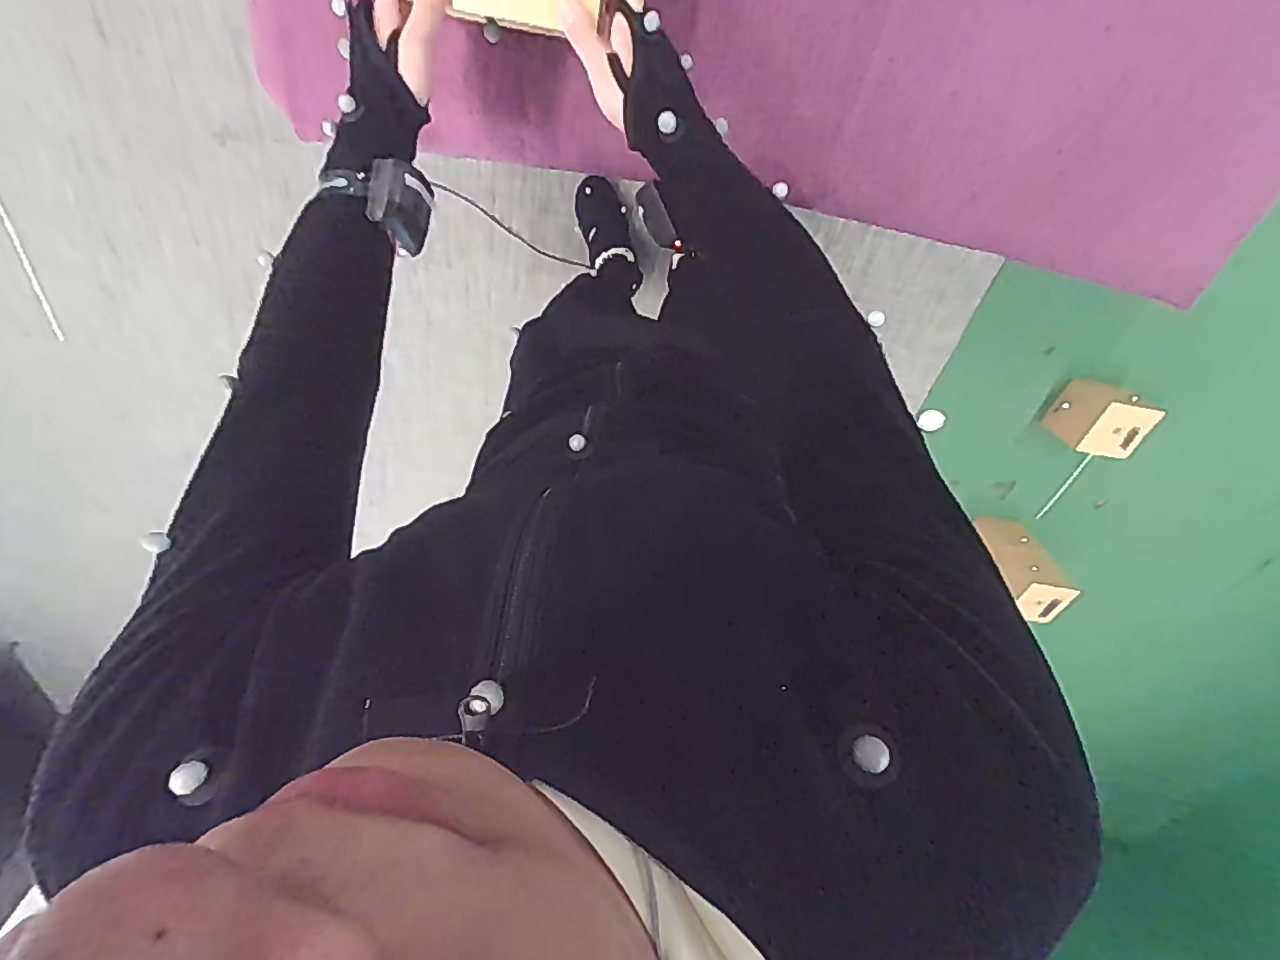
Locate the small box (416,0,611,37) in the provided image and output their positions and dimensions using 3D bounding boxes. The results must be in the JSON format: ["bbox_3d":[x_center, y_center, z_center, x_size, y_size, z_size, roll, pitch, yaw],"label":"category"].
[{"bbox_3d":[-0.103,-0.508,0.466,0.168,0.176,0.179,6,127,-5],"label":"small box"}]

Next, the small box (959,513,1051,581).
[{"bbox_3d":[1.300,0.236,1.940,0.179,0.176,0.168,10,126,-8],"label":"small box"}]

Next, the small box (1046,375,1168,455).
[{"bbox_3d":[1.384,-0.199,1.616,0.179,0.176,0.168,9,125,-6],"label":"small box"}]
